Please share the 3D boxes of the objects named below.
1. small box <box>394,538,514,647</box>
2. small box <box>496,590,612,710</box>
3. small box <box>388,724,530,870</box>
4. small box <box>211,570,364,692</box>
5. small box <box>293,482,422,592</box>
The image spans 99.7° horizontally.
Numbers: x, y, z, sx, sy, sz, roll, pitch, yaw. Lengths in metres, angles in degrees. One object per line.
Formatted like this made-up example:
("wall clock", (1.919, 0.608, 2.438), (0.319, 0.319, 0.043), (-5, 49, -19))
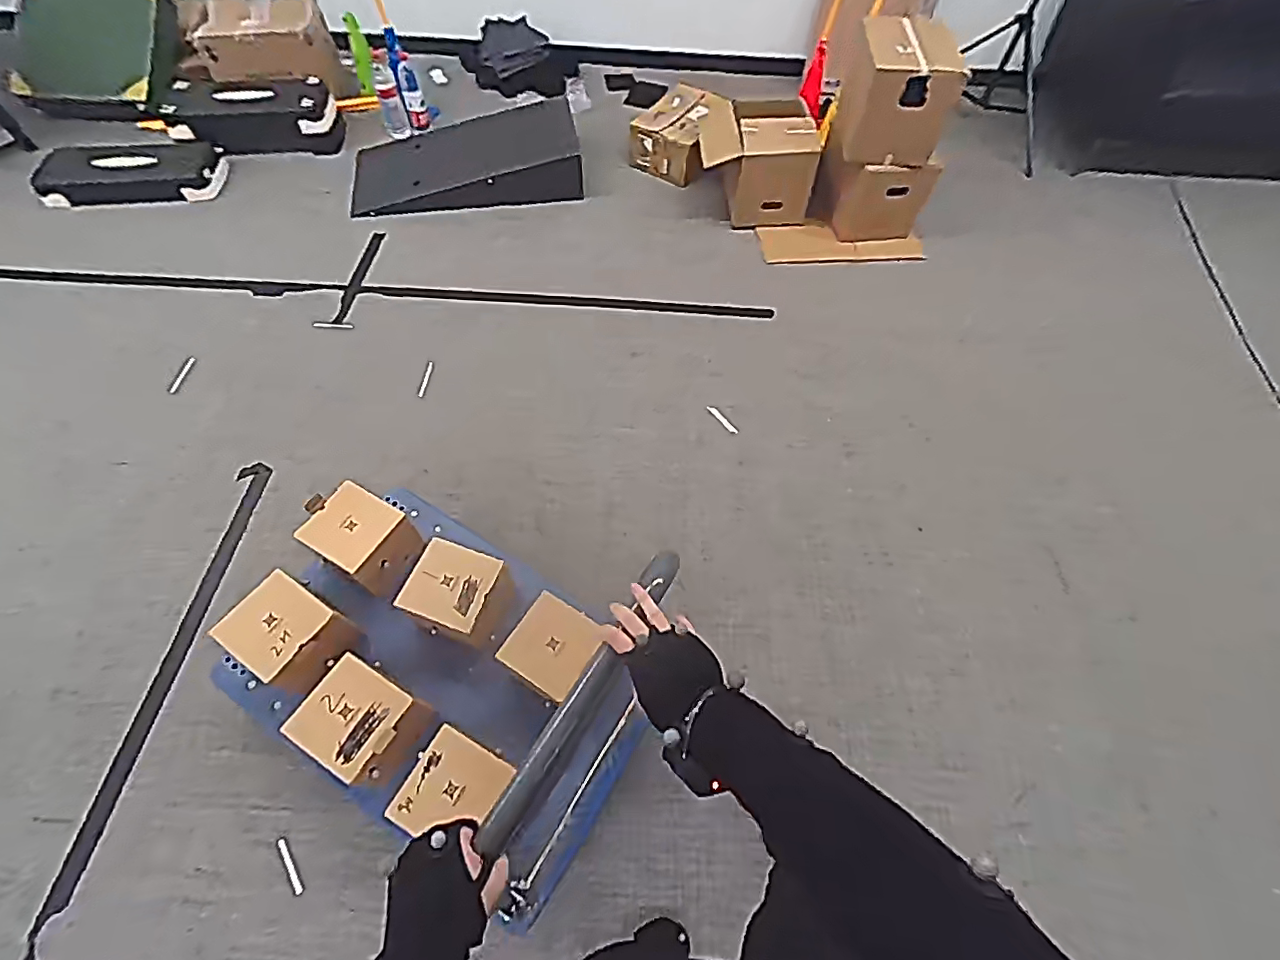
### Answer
("small box", (-0.400, 0.256, 1.201), (0.179, 0.176, 0.168), (18, 60, 8))
("small box", (-0.173, 0.368, 1.150), (0.179, 0.176, 0.168), (29, 62, 14))
("small box", (-0.324, 0.585, 1.012), (0.179, 0.176, 0.168), (26, 61, 11))
("small box", (-0.730, 0.325, 1.140), (0.179, 0.176, 0.168), (31, 63, 13))
("small box", (-0.641, 0.140, 1.255), (0.179, 0.176, 0.168), (26, 62, 12))
